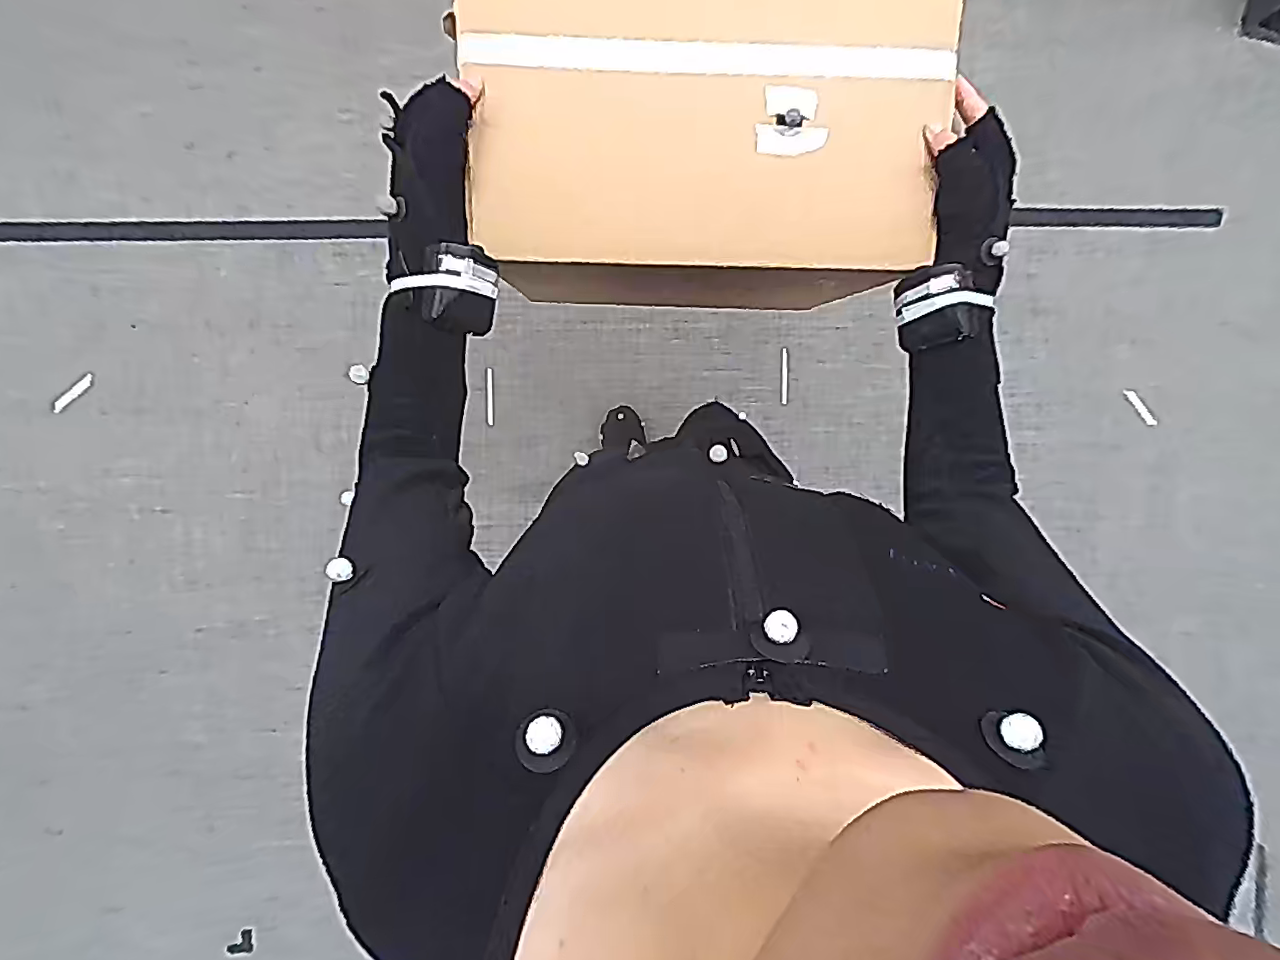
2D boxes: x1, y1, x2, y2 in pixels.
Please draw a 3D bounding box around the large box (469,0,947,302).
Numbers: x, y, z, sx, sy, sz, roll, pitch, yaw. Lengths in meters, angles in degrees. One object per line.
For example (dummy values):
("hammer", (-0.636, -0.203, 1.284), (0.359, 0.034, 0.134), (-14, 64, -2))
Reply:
("large box", (0.050, -0.378, 0.602), (0.408, 0.320, 0.320), (0, 102, -3))
